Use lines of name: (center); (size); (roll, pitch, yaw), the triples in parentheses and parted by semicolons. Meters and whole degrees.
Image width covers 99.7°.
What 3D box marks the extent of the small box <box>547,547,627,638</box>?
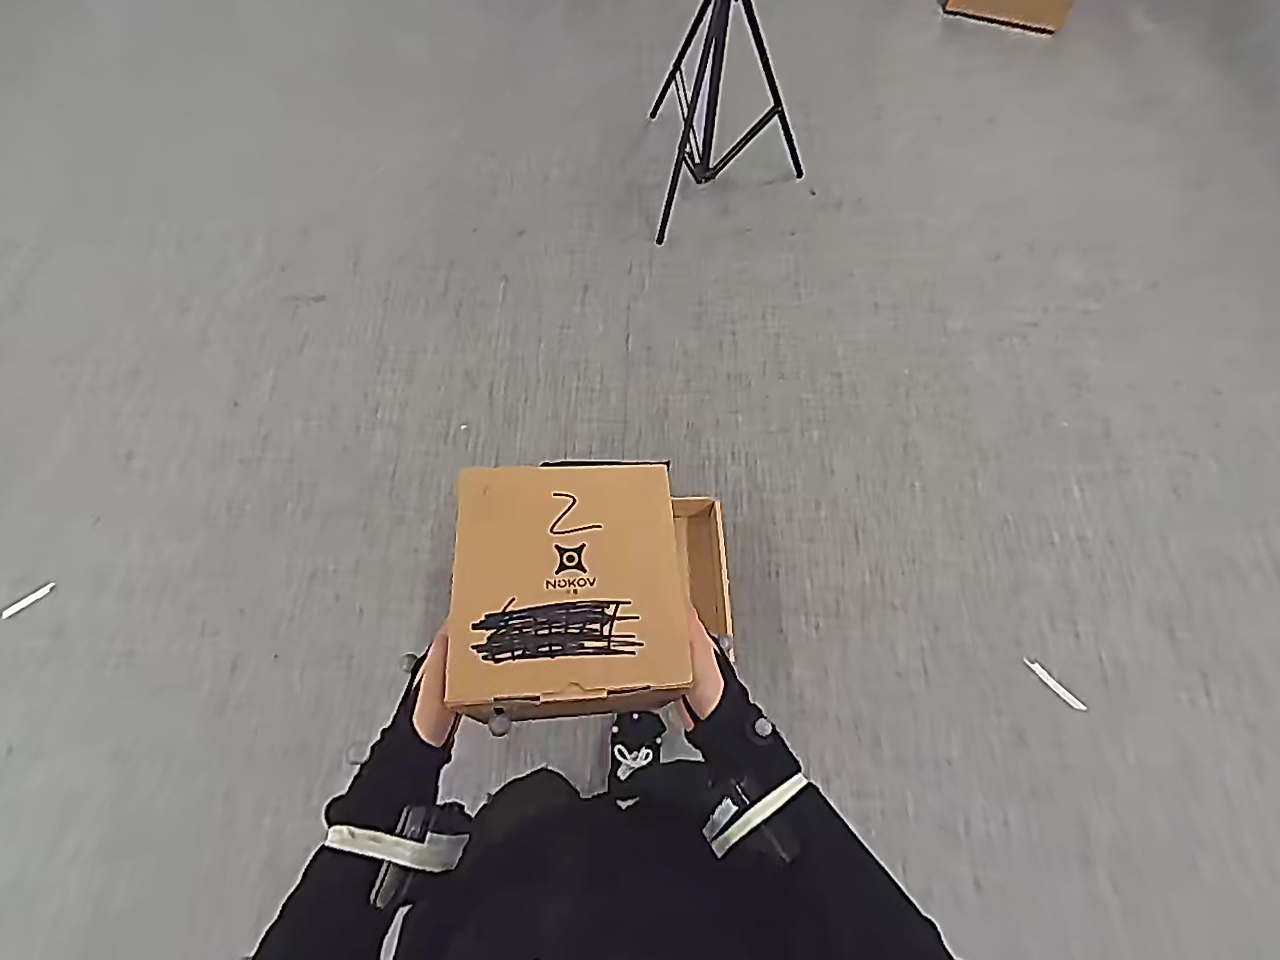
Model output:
small box: (-0.122, 0.271, 1.280); (0.168, 0.176, 0.179); (-7, 70, -2)
